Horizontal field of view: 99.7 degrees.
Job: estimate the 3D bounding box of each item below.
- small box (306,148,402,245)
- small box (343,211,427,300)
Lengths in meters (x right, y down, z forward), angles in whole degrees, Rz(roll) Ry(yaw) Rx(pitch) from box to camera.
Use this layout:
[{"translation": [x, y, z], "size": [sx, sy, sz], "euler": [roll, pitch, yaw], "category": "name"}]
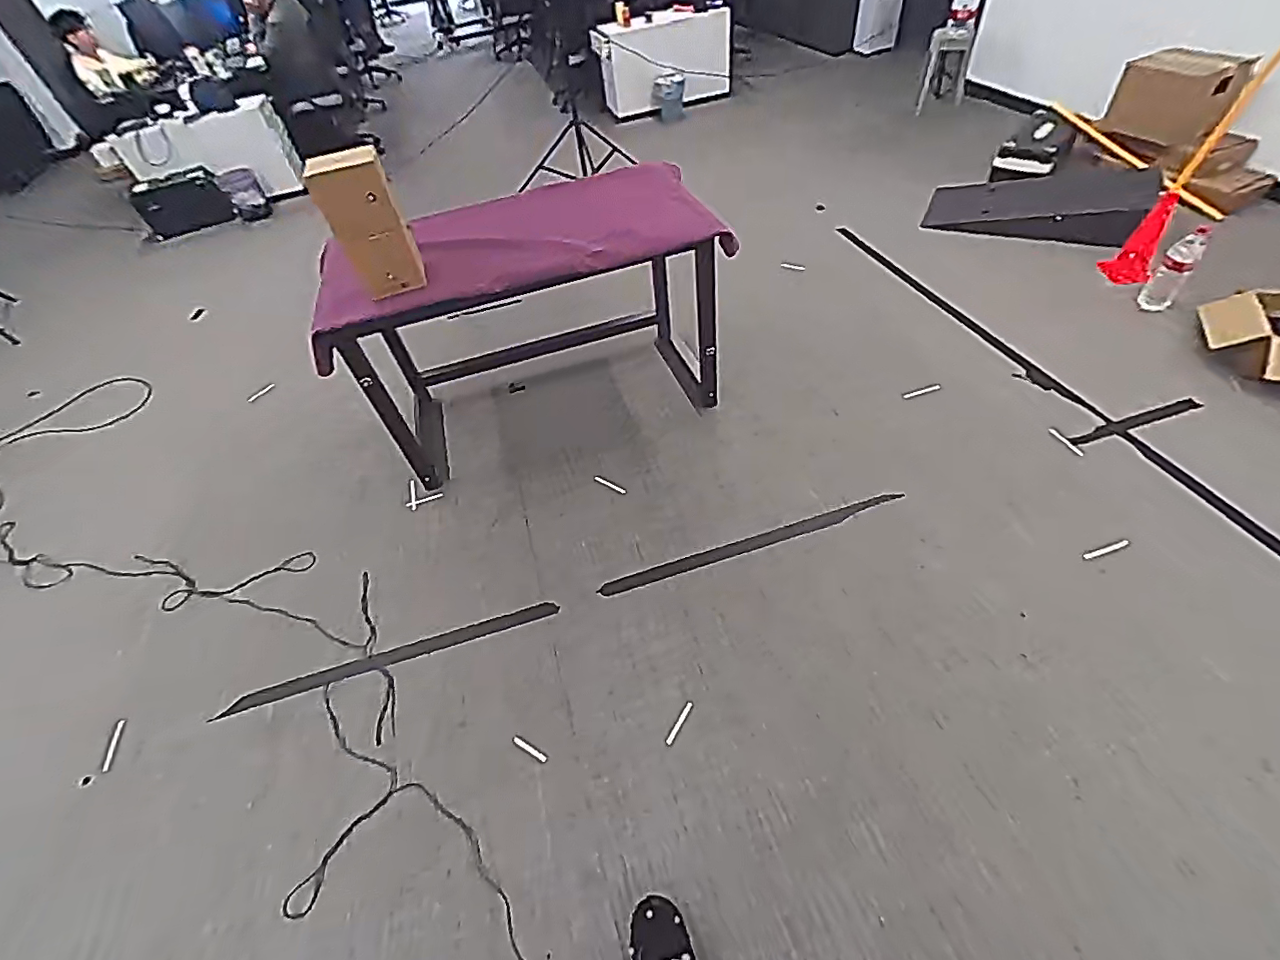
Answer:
[{"translation": [-0.755, -0.757, 1.447], "size": [0.179, 0.176, 0.168], "euler": [-21, 47, -9], "category": "small box"}, {"translation": [-0.735, -0.650, 1.568], "size": [0.168, 0.176, 0.179], "euler": [-19, 49, -8], "category": "small box"}]
